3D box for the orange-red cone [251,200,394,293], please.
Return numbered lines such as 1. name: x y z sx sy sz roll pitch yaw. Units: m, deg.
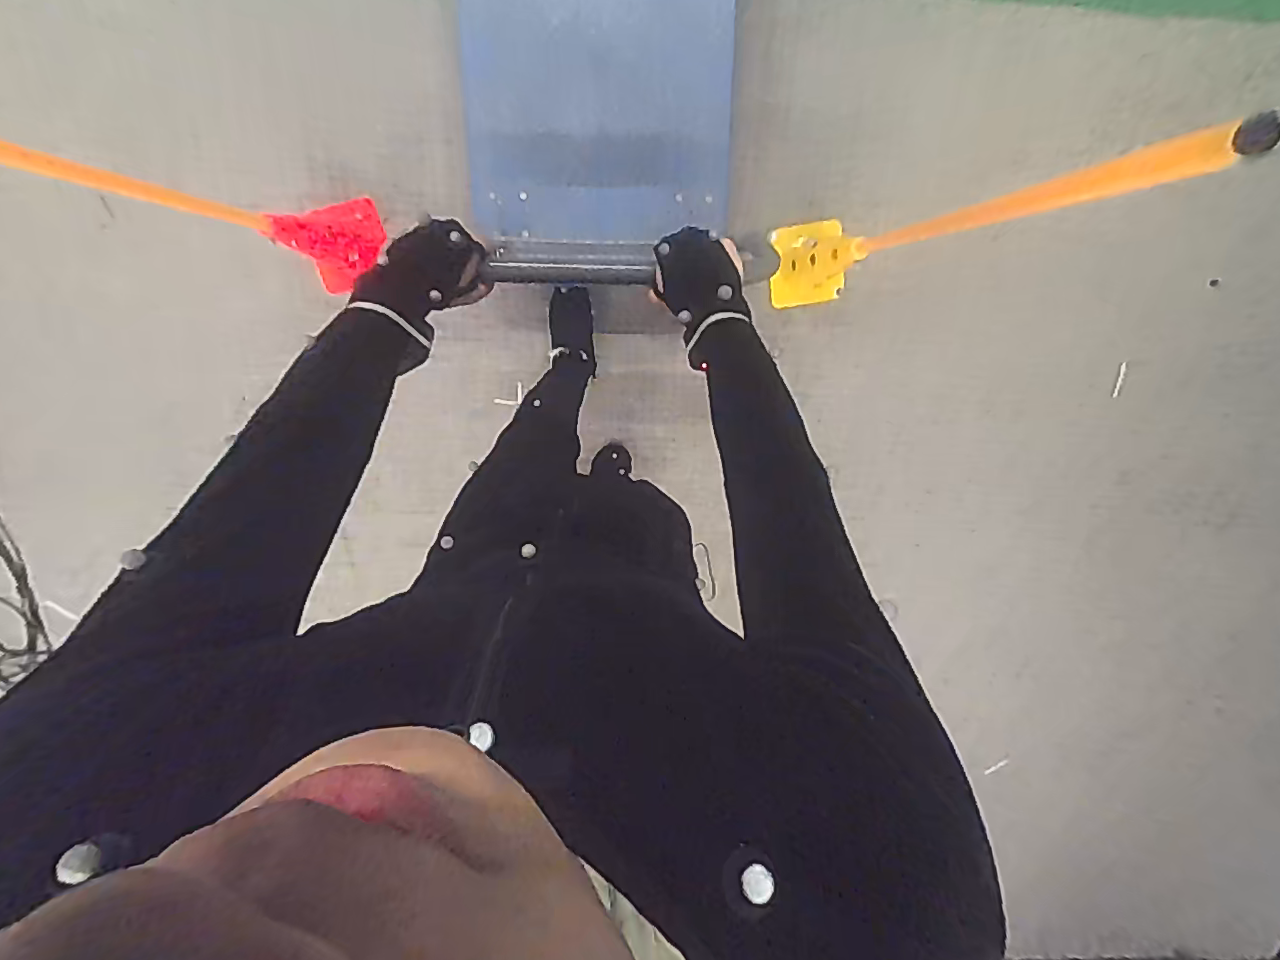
1. orange-red cone: -0.738 -0.541 1.208 0.199 0.360 0.198 -12 106 2
